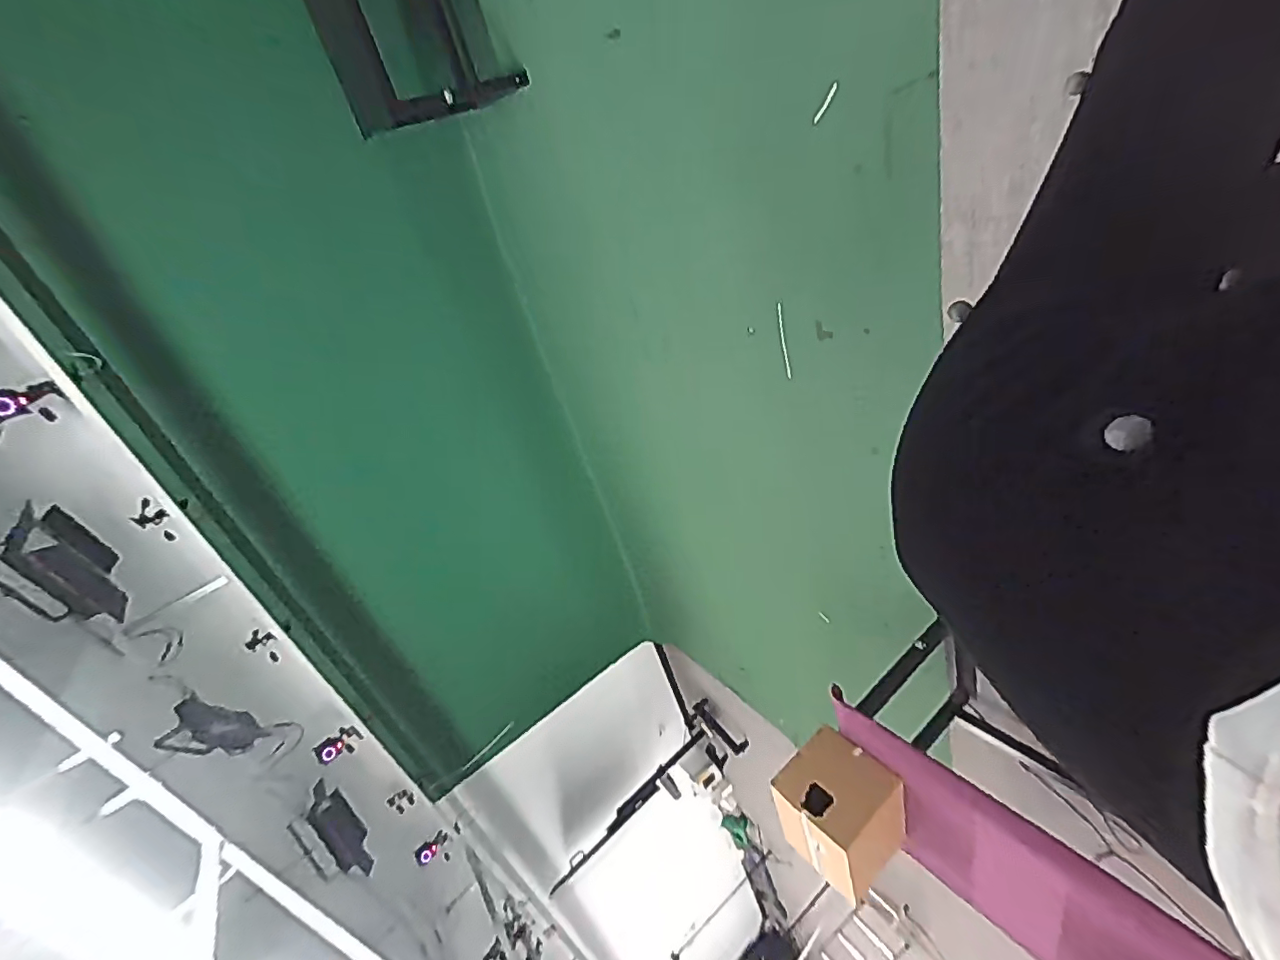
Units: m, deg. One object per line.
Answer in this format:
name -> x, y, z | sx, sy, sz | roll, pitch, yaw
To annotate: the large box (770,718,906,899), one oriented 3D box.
large box -> 0.711, 1.153, 1.921 | 0.320, 0.320, 0.408 | 23, 139, 50
